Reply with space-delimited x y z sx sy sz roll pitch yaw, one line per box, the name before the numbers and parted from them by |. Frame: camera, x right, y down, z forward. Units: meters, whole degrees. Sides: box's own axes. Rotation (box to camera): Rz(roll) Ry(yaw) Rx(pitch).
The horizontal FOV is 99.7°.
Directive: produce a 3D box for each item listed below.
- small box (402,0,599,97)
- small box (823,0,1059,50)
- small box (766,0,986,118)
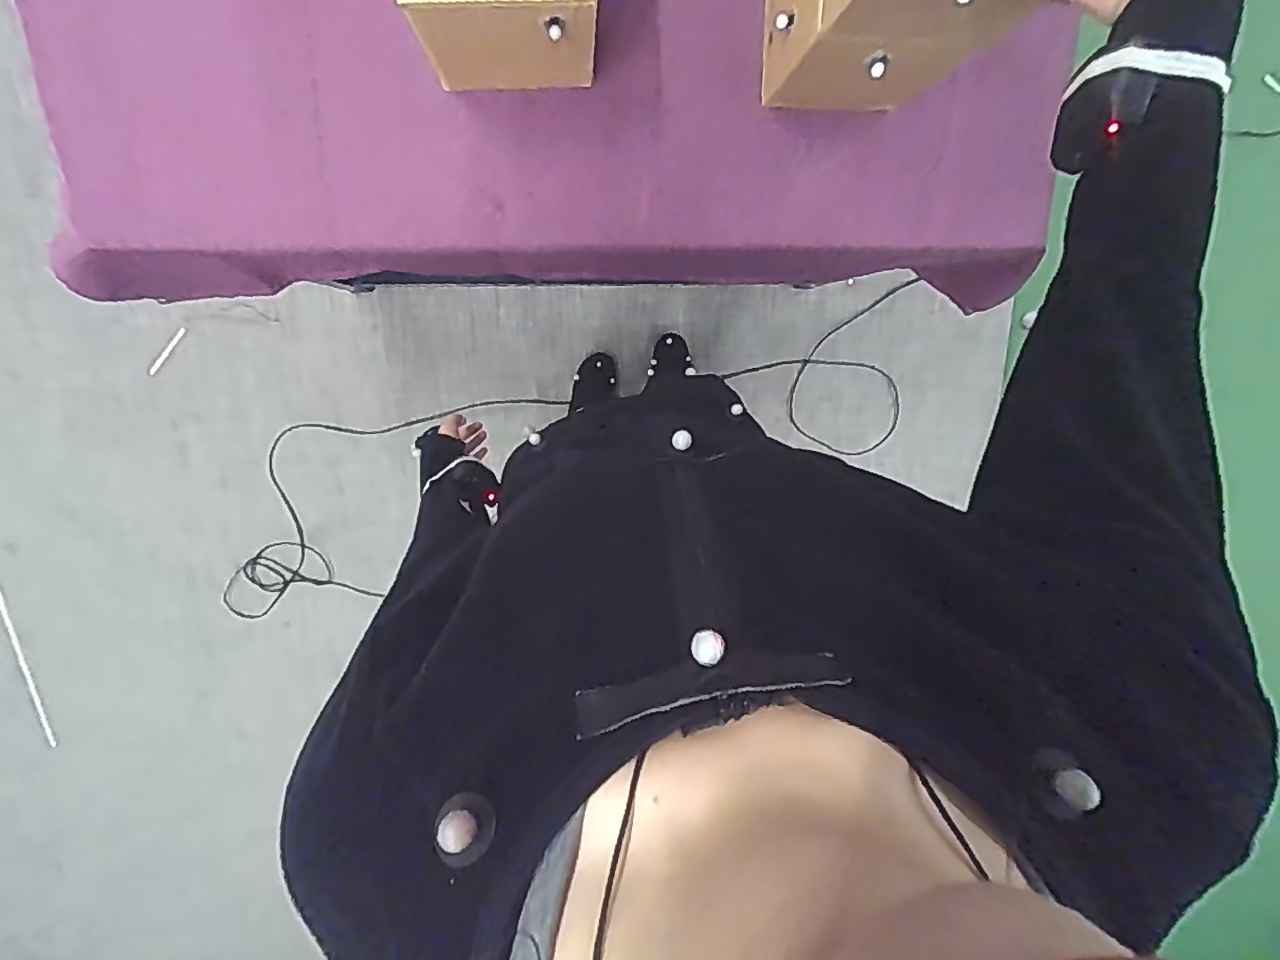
small box | -0.136 -0.513 0.541 0.179 0.176 0.168 -6 104 -6
small box | 0.268 -0.475 0.425 0.179 0.176 0.168 -2 105 -5
small box | 0.245 -0.516 0.582 0.179 0.176 0.168 -2 104 -6
